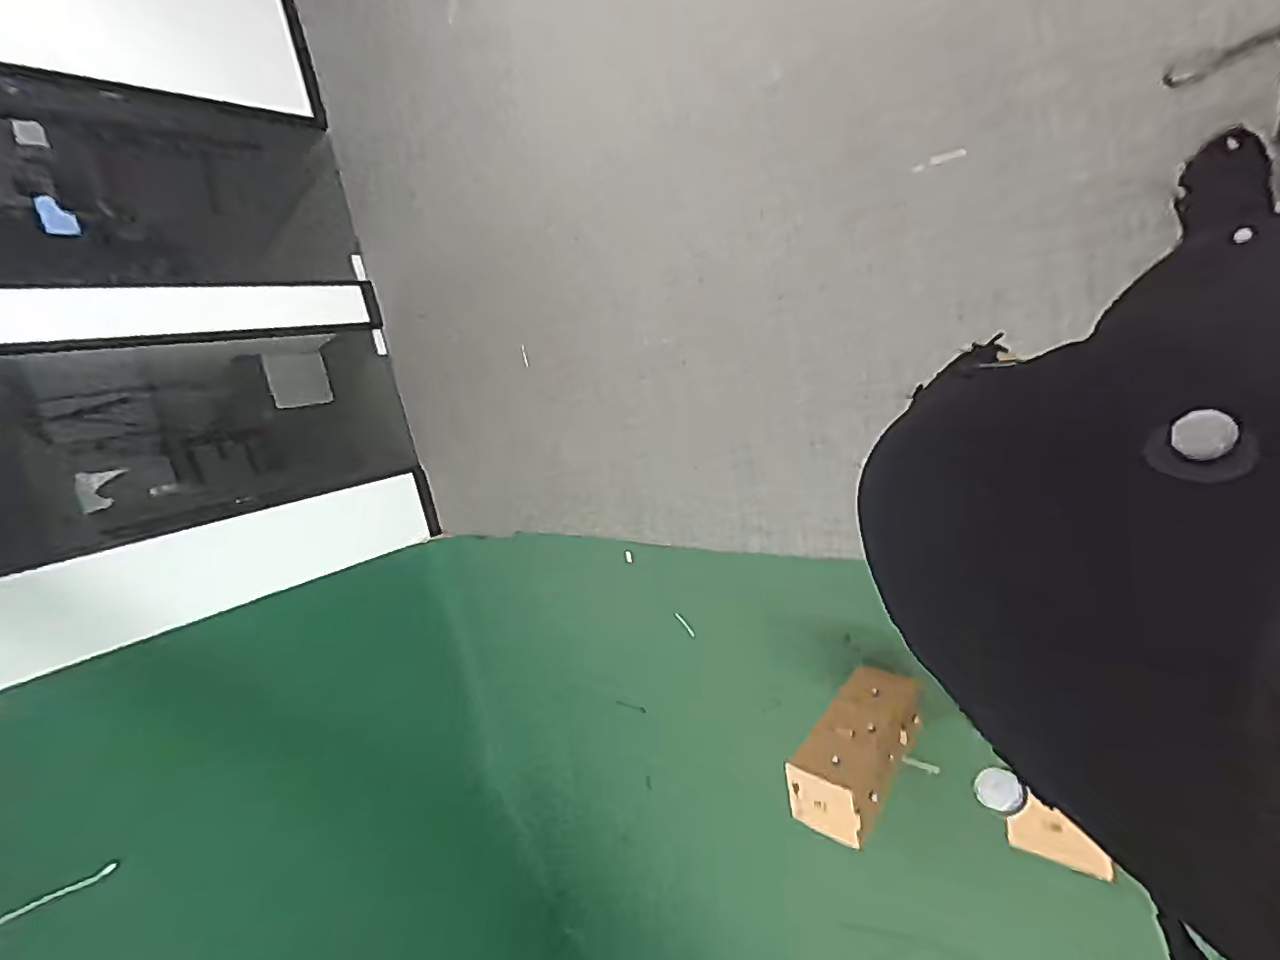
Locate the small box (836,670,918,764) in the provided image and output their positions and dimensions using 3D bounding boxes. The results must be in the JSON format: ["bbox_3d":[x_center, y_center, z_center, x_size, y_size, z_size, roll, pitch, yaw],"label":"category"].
[{"bbox_3d":[0.699,0.687,1.595,0.179,0.176,0.168,4,106,44],"label":"small box"}]

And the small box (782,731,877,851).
[{"bbox_3d":[0.483,0.768,1.361,0.179,0.176,0.168,2,106,44],"label":"small box"}]

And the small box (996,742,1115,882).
[{"bbox_3d":[0.897,0.697,1.164,0.179,0.176,0.168,-5,101,45],"label":"small box"}]
